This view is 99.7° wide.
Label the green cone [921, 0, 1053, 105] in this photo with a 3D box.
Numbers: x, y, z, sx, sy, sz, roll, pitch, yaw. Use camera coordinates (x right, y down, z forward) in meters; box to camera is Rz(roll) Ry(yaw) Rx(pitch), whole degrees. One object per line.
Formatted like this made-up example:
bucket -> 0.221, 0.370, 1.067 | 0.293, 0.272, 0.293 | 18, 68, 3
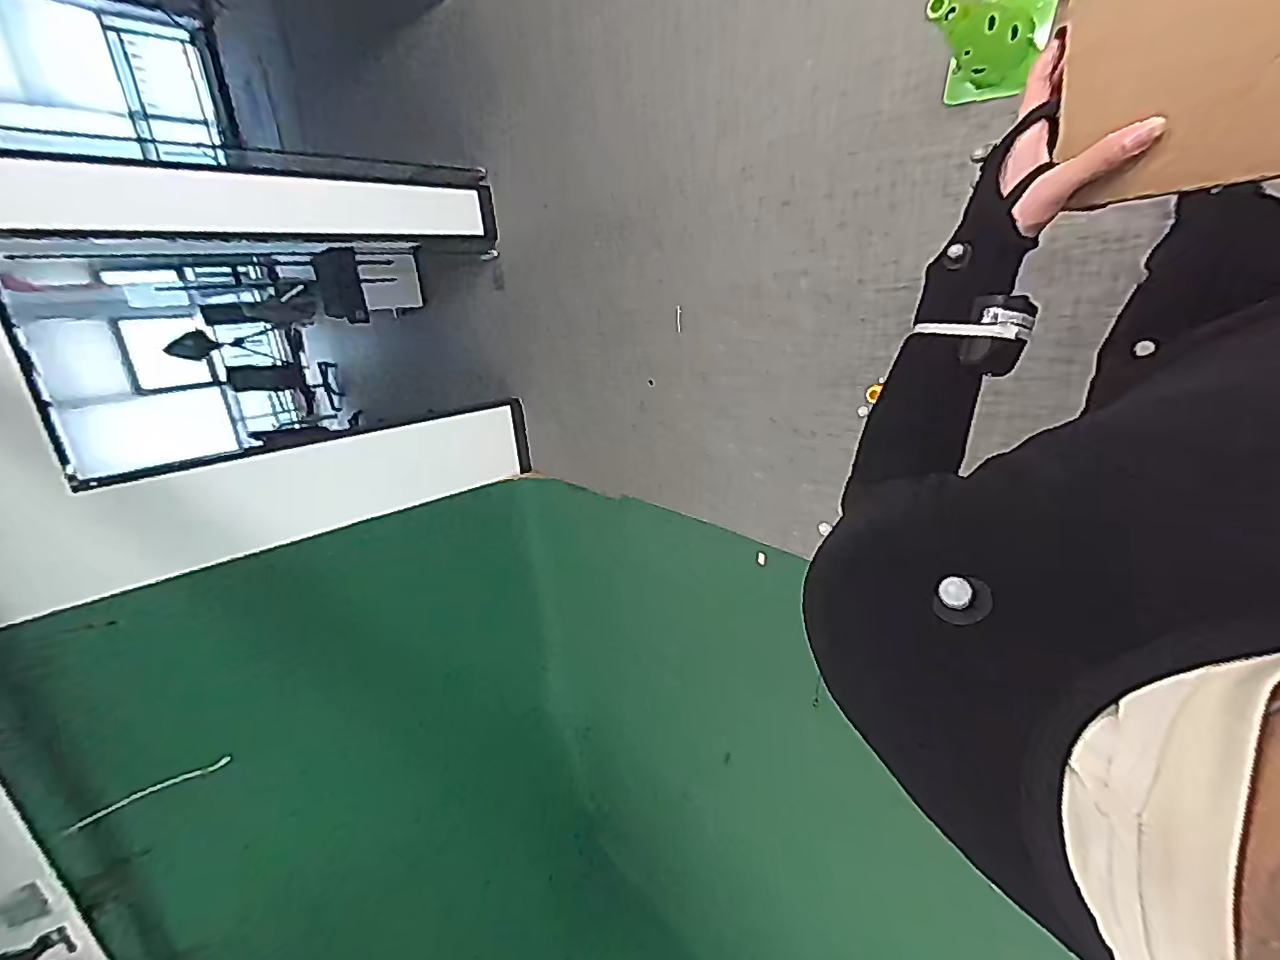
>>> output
green cone -> 0.693, -0.952, 1.149 | 0.200, 0.368, 0.202 | 24, 124, 43
